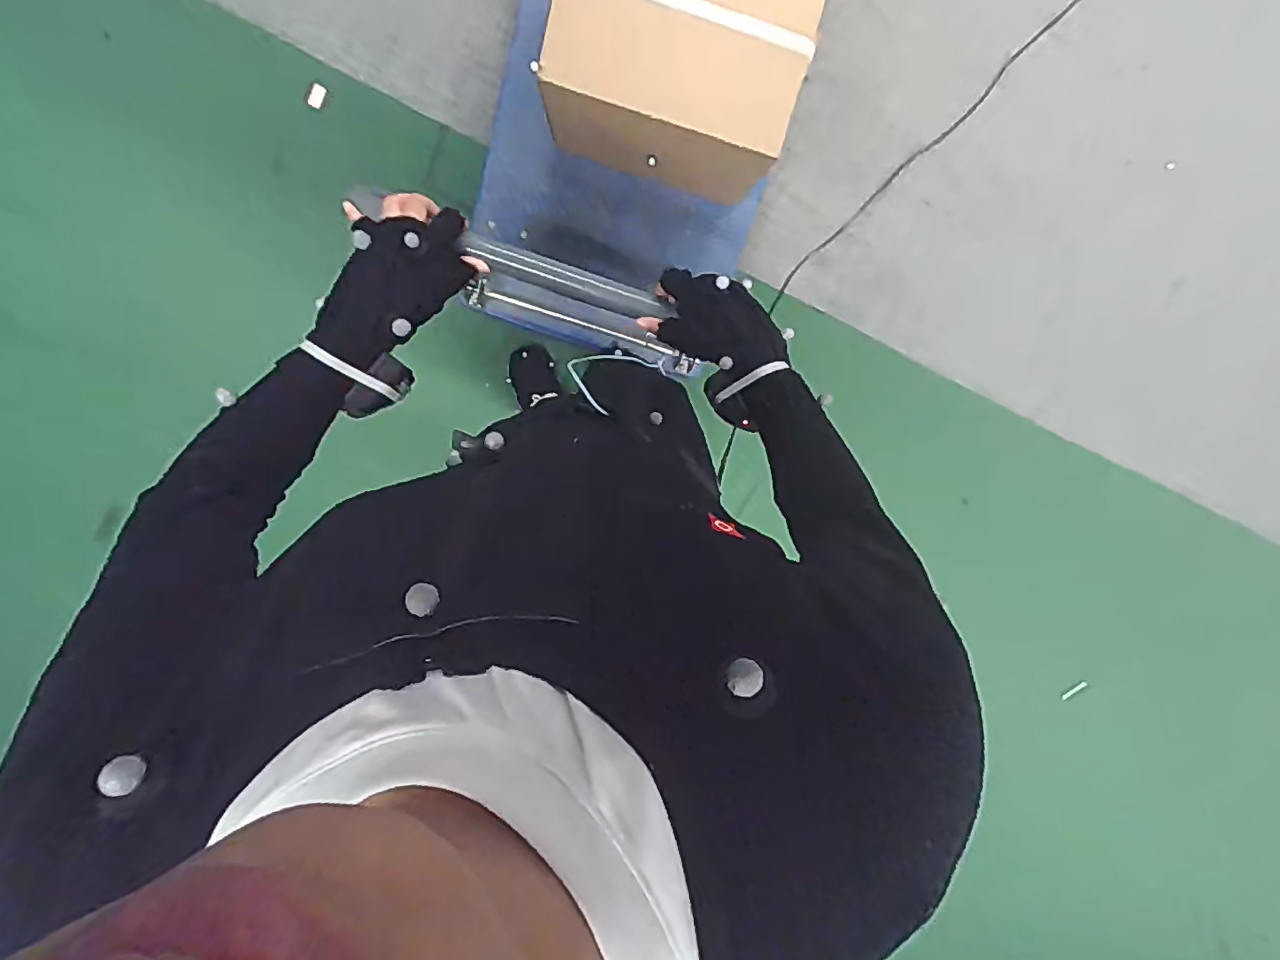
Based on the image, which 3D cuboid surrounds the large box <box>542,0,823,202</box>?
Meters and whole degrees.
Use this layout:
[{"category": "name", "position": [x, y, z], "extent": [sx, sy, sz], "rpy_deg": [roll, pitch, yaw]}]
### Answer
[{"category": "large box", "position": [0.068, -0.751, 0.979], "extent": [0.408, 0.320, 0.320], "rpy_deg": [14, 102, -6]}]
